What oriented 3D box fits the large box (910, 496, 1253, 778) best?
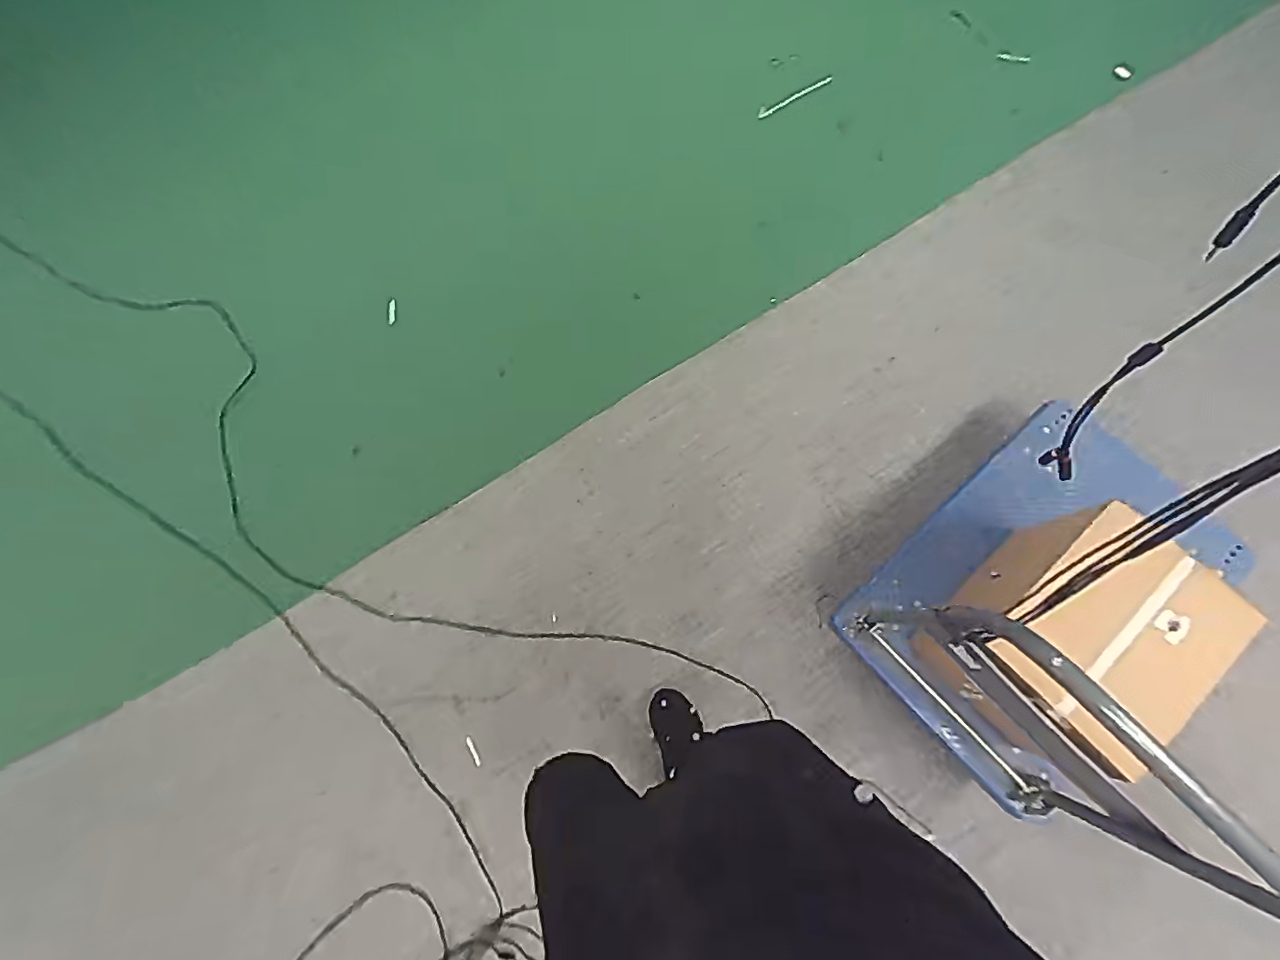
[{"bbox_3d":[0.856,0.308,1.108,0.408,0.320,0.320,-41,77,-10],"label":"large box"}]
